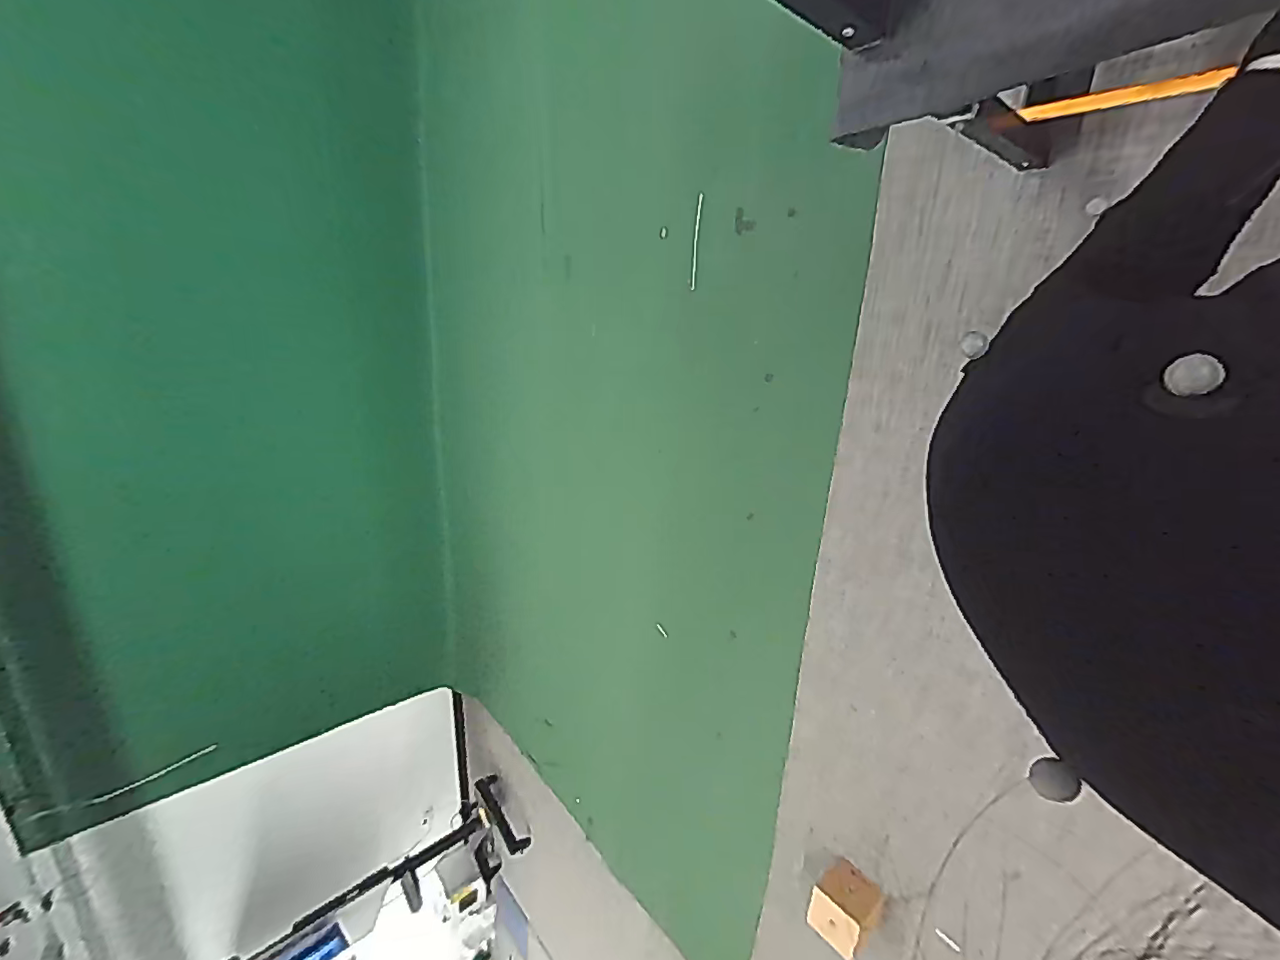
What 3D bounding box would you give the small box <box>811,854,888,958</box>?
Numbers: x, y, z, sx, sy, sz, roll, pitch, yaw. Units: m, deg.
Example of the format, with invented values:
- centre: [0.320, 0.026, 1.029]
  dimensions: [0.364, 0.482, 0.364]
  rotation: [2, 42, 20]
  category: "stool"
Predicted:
- centre: [0.702, 1.410, 1.804]
  dimensions: [0.168, 0.176, 0.179]
  rotation: [23, 117, 46]
  category: "small box"
